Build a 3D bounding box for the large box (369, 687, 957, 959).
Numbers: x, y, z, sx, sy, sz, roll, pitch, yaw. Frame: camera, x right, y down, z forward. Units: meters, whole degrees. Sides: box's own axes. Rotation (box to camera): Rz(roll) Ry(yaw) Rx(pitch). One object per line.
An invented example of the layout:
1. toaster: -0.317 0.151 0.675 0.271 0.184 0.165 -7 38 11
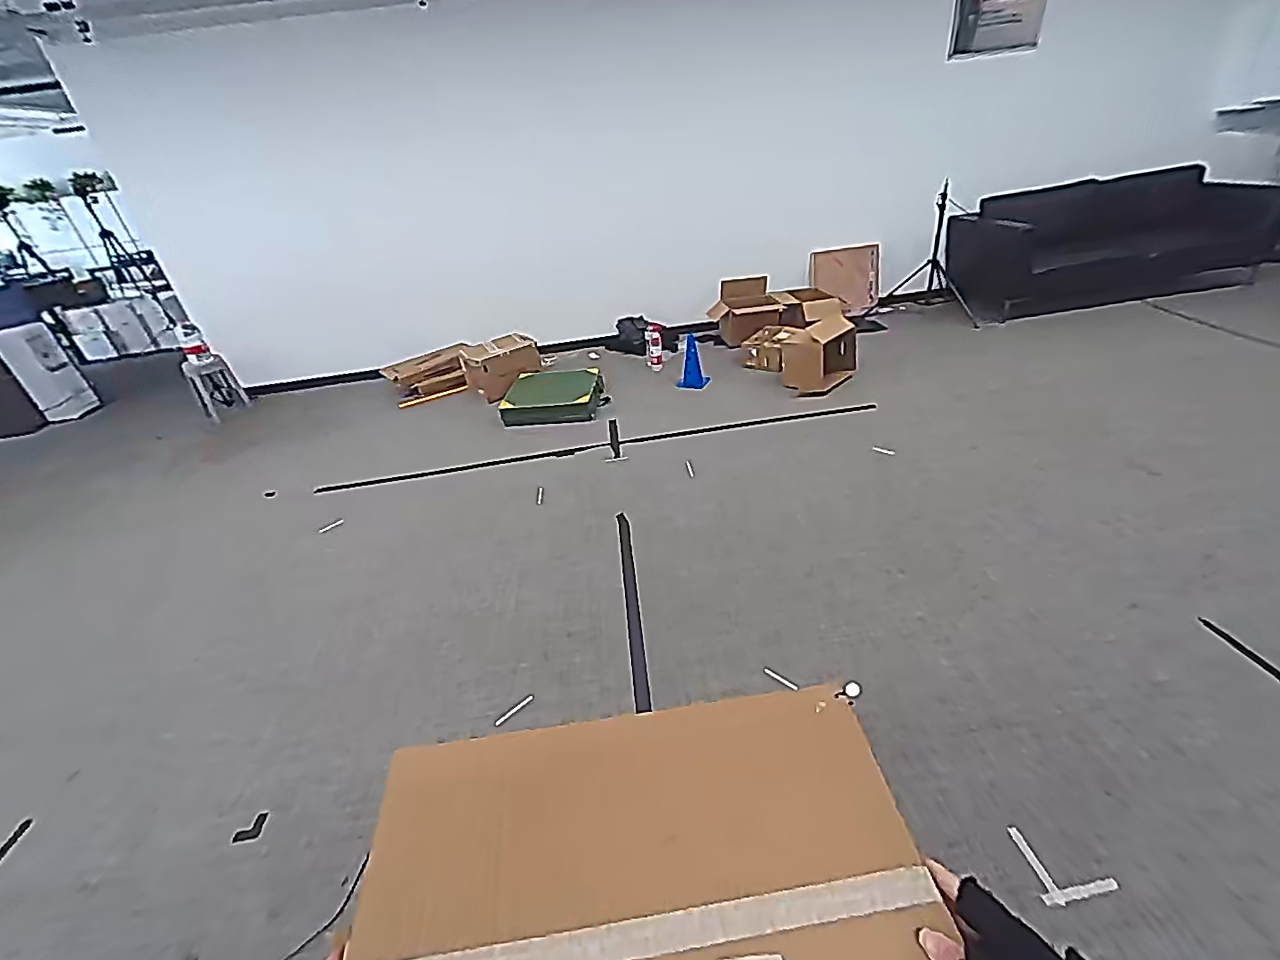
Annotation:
1. large box: 0.014 0.431 0.471 0.408 0.320 0.320 -7 39 -4
